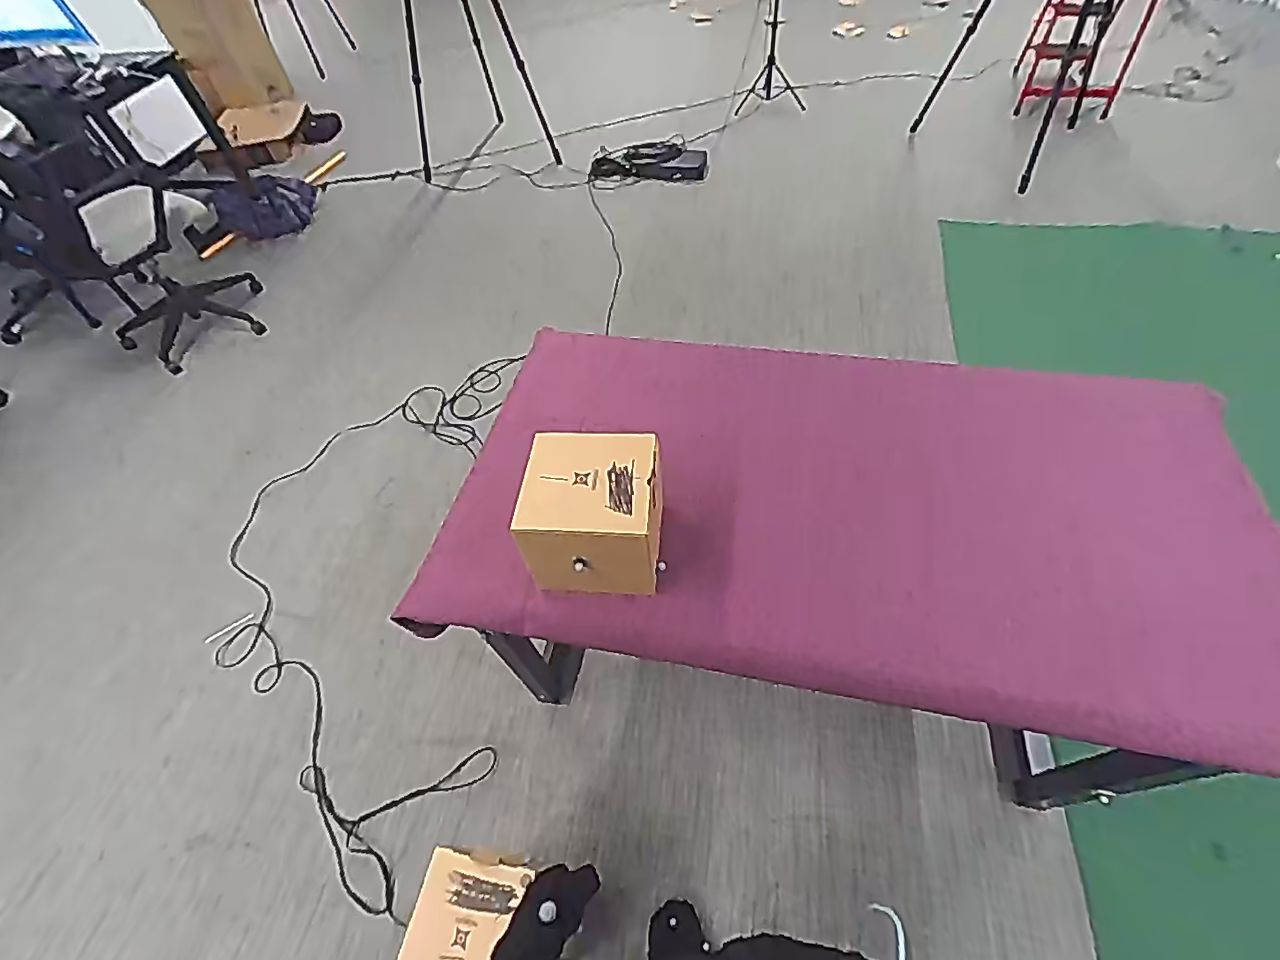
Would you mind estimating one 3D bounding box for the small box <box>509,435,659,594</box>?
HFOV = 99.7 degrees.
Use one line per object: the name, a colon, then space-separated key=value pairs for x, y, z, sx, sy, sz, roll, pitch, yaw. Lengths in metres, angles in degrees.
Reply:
small box: x=-0.066 y=0.053 z=0.778 sx=0.179 sy=0.176 sz=0.168 roll=2 pitch=53 yaw=7
